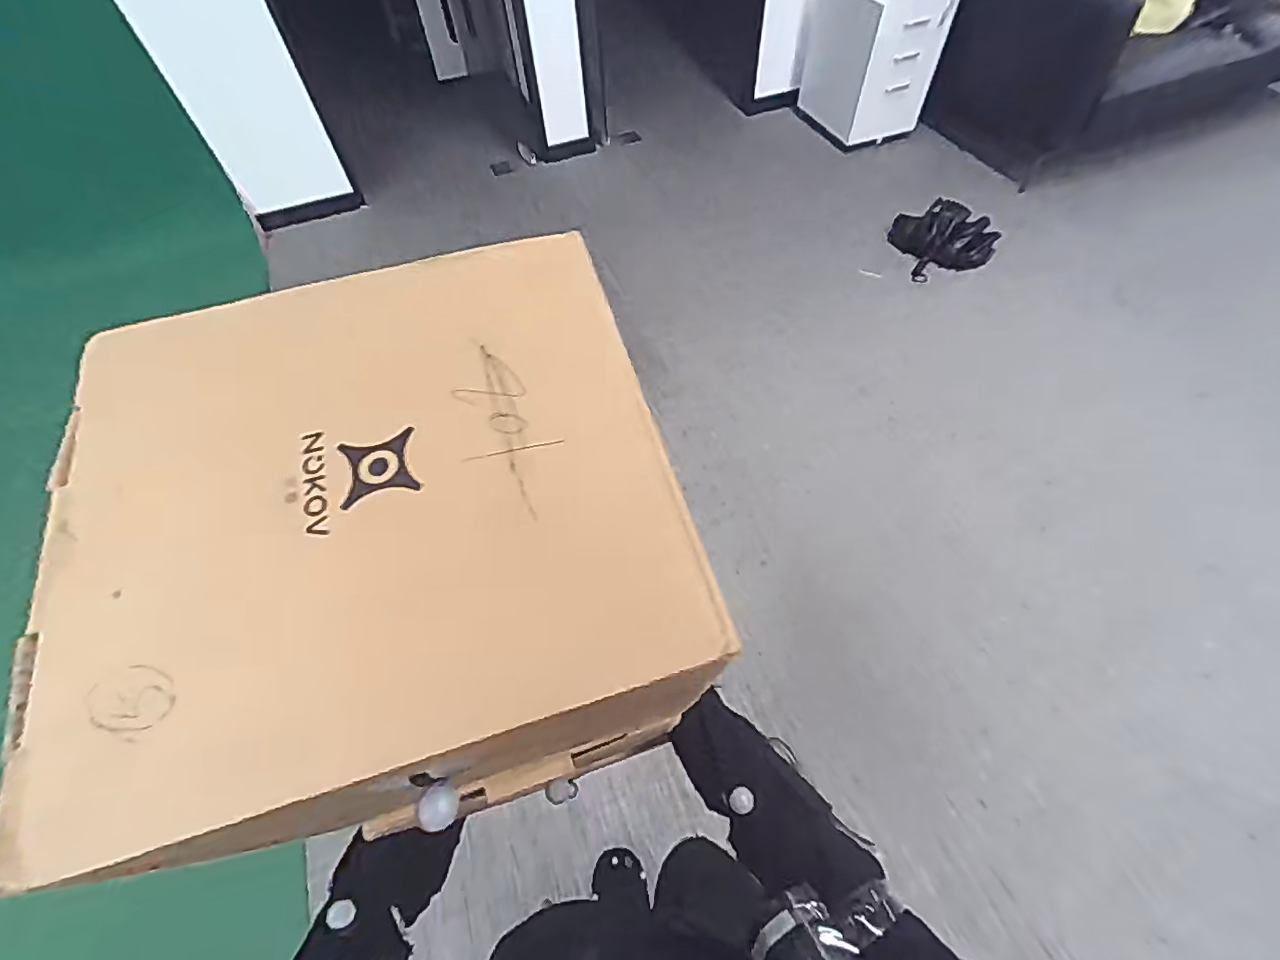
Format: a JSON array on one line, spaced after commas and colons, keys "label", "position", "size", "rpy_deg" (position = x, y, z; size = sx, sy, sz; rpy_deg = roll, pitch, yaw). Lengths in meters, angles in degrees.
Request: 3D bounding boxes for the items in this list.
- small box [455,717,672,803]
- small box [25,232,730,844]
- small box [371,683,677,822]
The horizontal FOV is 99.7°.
[{"label": "small box", "position": [-0.080, 0.188, 0.524], "size": [0.179, 0.176, 0.168], "rpy_deg": [-16, 64, -7]}, {"label": "small box", "position": [-0.080, 0.030, 0.238], "size": [0.179, 0.176, 0.168], "rpy_deg": [-16, 65, -9]}, {"label": "small box", "position": [-0.081, 0.106, 0.383], "size": [0.168, 0.176, 0.179], "rpy_deg": [-17, 65, -9]}]
